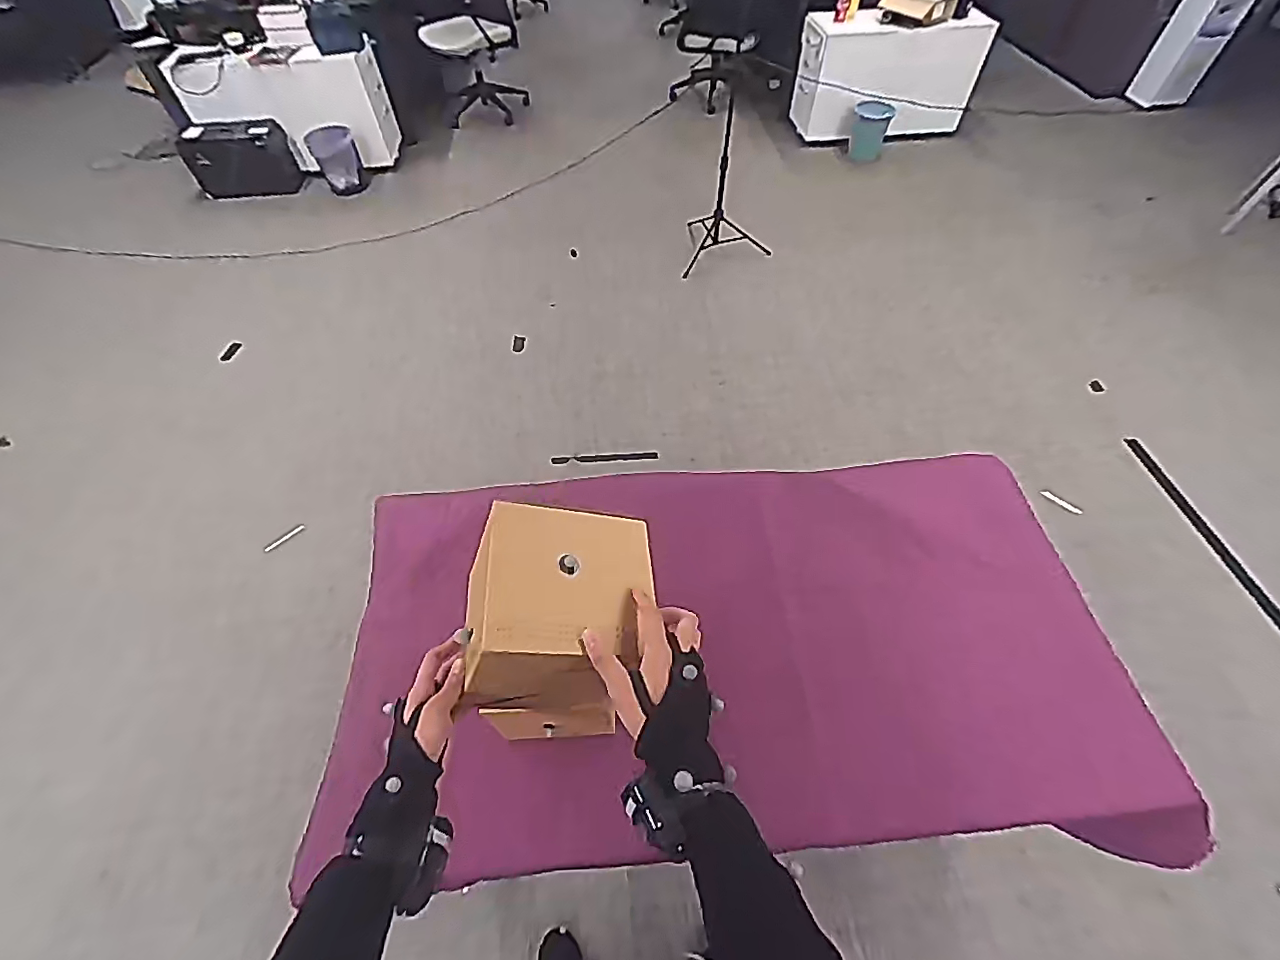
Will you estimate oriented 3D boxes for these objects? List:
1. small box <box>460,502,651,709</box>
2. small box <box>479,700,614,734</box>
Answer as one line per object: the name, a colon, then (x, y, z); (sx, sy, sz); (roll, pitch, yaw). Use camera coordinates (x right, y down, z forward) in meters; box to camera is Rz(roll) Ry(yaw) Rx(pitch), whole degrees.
small box: (-0.095, 0.148, 0.606); (0.179, 0.168, 0.176); (9, 49, -20)
small box: (-0.124, 0.266, 0.793); (0.168, 0.176, 0.179); (-2, 54, -1)
